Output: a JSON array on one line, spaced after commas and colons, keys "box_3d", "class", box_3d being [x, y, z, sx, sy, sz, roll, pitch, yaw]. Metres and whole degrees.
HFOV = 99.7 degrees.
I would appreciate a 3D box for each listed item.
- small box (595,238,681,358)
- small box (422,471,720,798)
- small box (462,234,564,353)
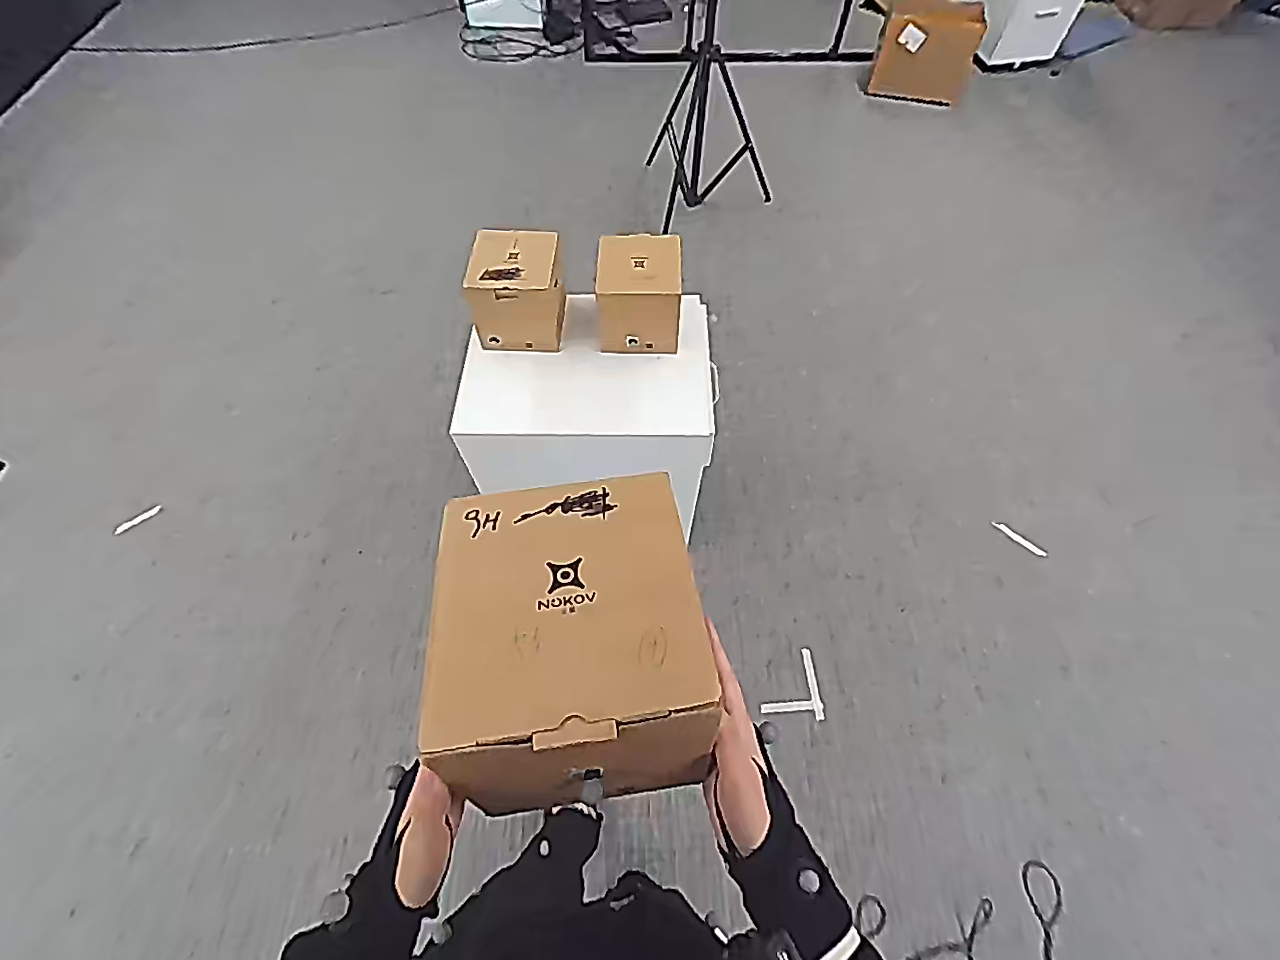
[{"box_3d": [-0.003, -0.377, 1.128, 0.168, 0.176, 0.179, 0, 61, 1], "class": "small box"}, {"box_3d": [-0.044, 0.120, 0.401, 0.168, 0.176, 0.179, -7, 50, -5], "class": "small box"}, {"box_3d": [-0.253, -0.383, 1.126, 0.168, 0.176, 0.179, 2, 59, 0], "class": "small box"}]
